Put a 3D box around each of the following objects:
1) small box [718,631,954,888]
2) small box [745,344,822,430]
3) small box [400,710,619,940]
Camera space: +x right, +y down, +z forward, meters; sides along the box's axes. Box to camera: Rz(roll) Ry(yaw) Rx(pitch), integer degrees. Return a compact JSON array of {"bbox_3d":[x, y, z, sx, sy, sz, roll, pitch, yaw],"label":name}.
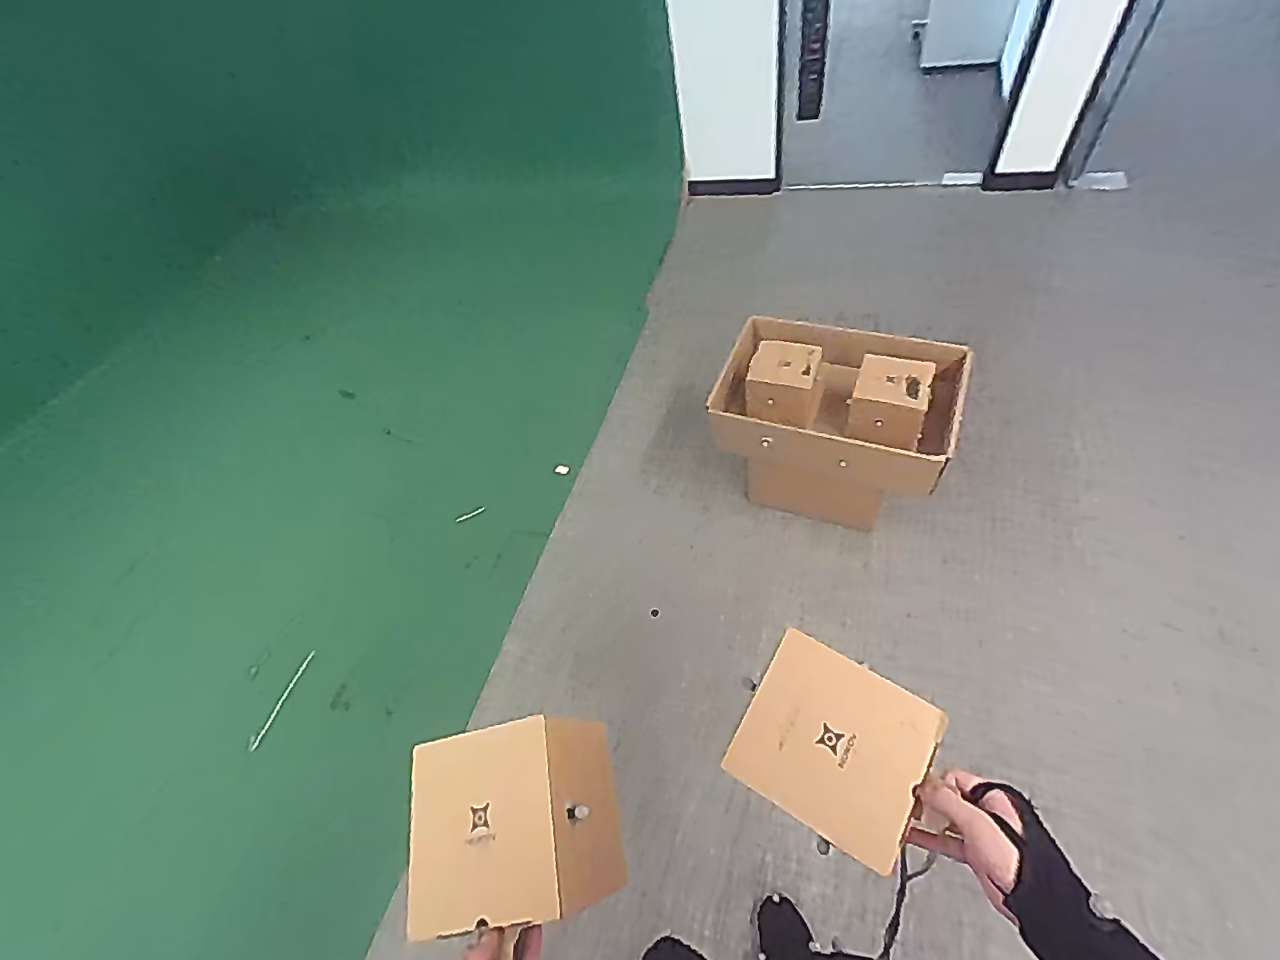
[{"bbox_3d":[0.202,0.296,0.602,0.179,0.176,0.168,29,70,19],"label":"small box"},{"bbox_3d":[0.408,-0.262,1.541,0.179,0.176,0.168,13,59,21],"label":"small box"},{"bbox_3d":[-0.134,0.368,0.597,0.168,0.176,0.179,-18,60,12],"label":"small box"}]
